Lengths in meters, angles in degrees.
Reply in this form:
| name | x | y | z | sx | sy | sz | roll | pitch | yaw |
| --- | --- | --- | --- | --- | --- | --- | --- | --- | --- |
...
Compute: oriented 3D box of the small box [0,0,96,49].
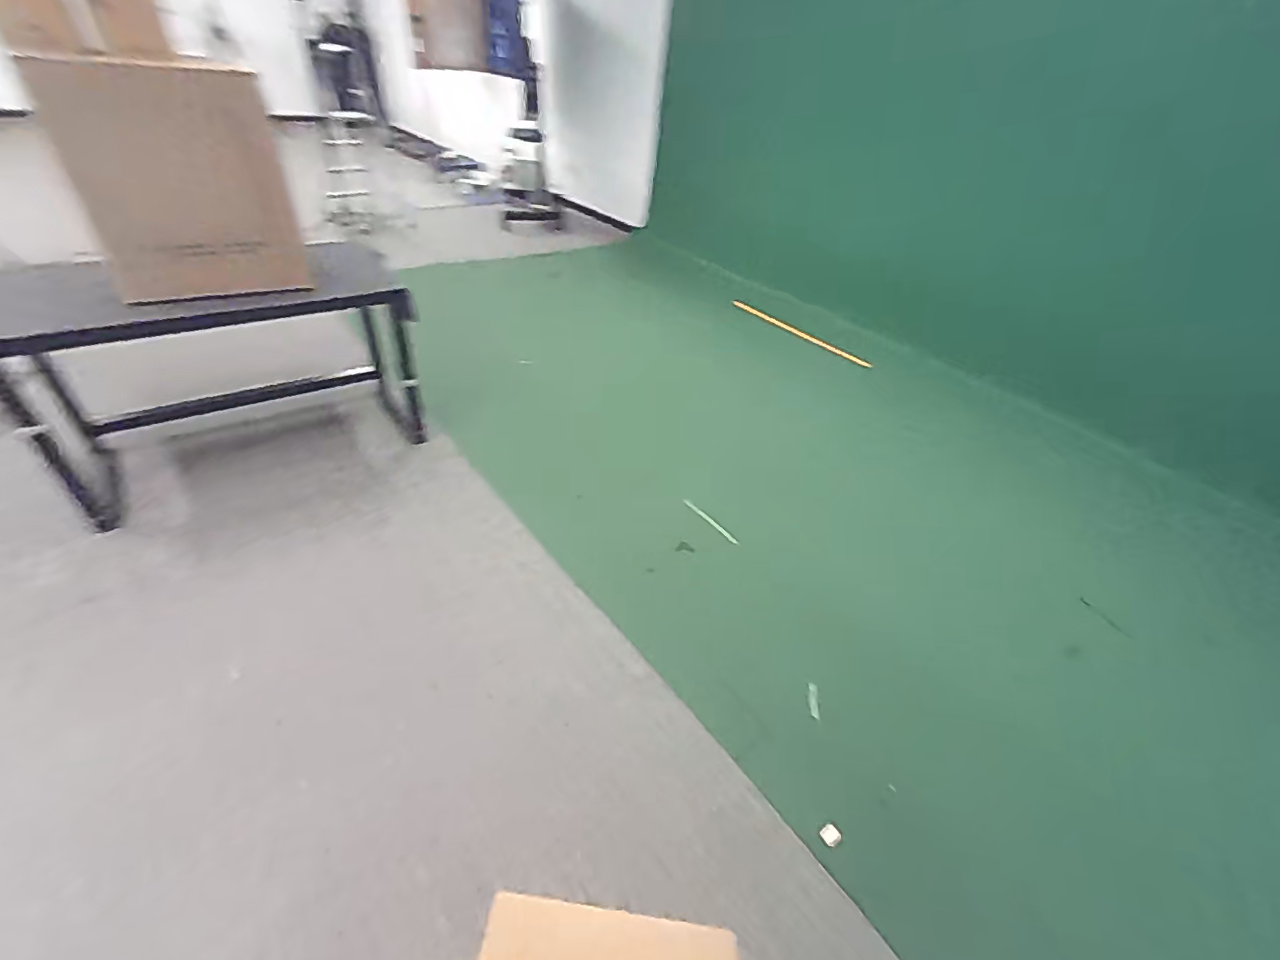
| name | x | y | z | sx | sy | sz | roll | pitch | yaw |
| --- | --- | --- | --- | --- | --- | --- | --- | --- | --- |
| small box | -1.508 | -1.195 | 1.345 | 0.168 | 0.176 | 0.179 | -19 | 48 | -27 |
